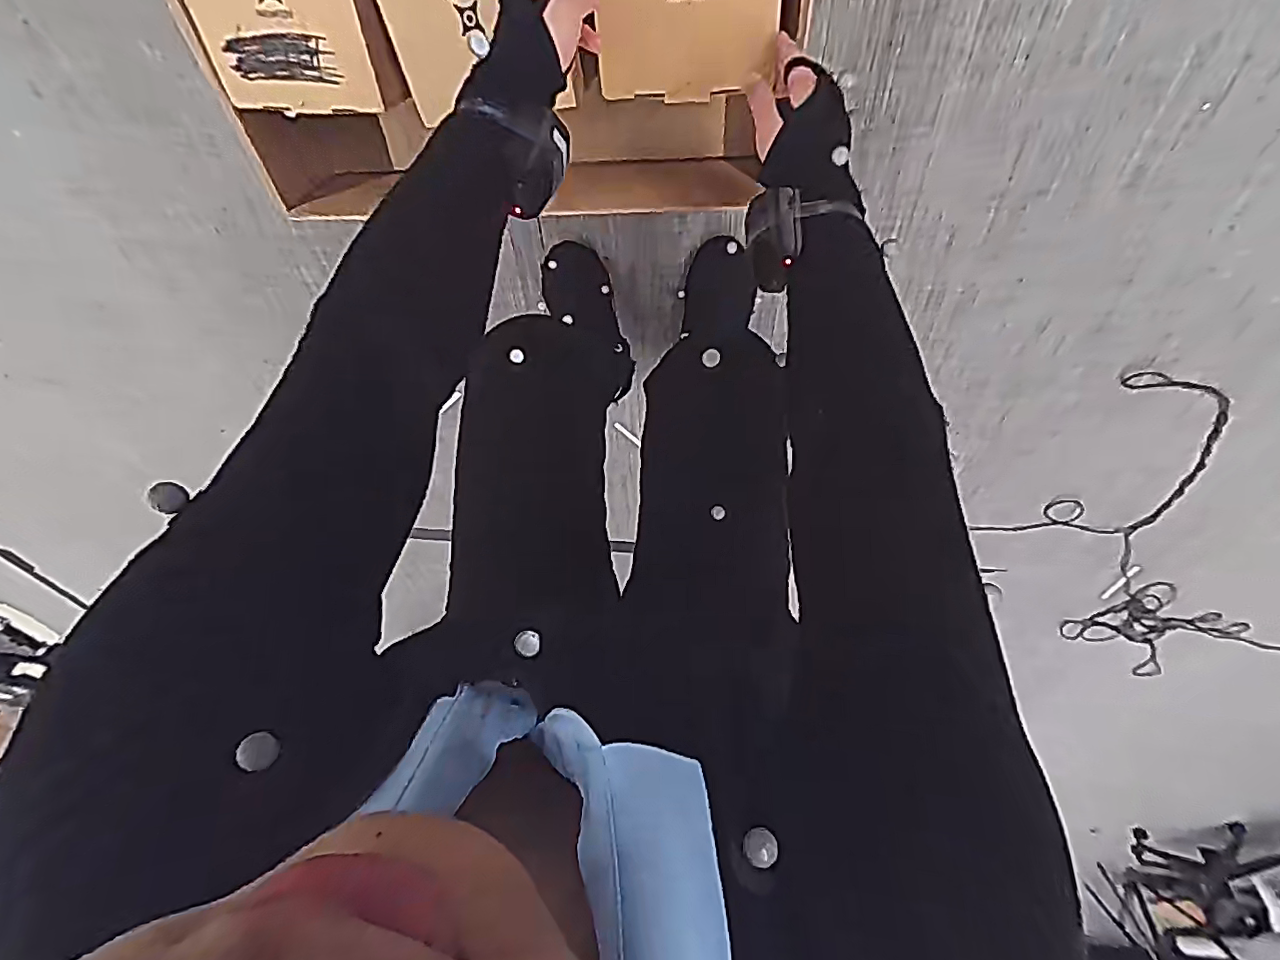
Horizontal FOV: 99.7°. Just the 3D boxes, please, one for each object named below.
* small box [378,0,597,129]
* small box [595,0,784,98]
[{"bbox_3d":[-0.145,-0.480,0.537,0.168,0.176,0.179,-2,136,9],"label":"small box"},{"bbox_3d":[0.050,-0.483,0.505,0.168,0.176,0.179,3,138,8],"label":"small box"}]
